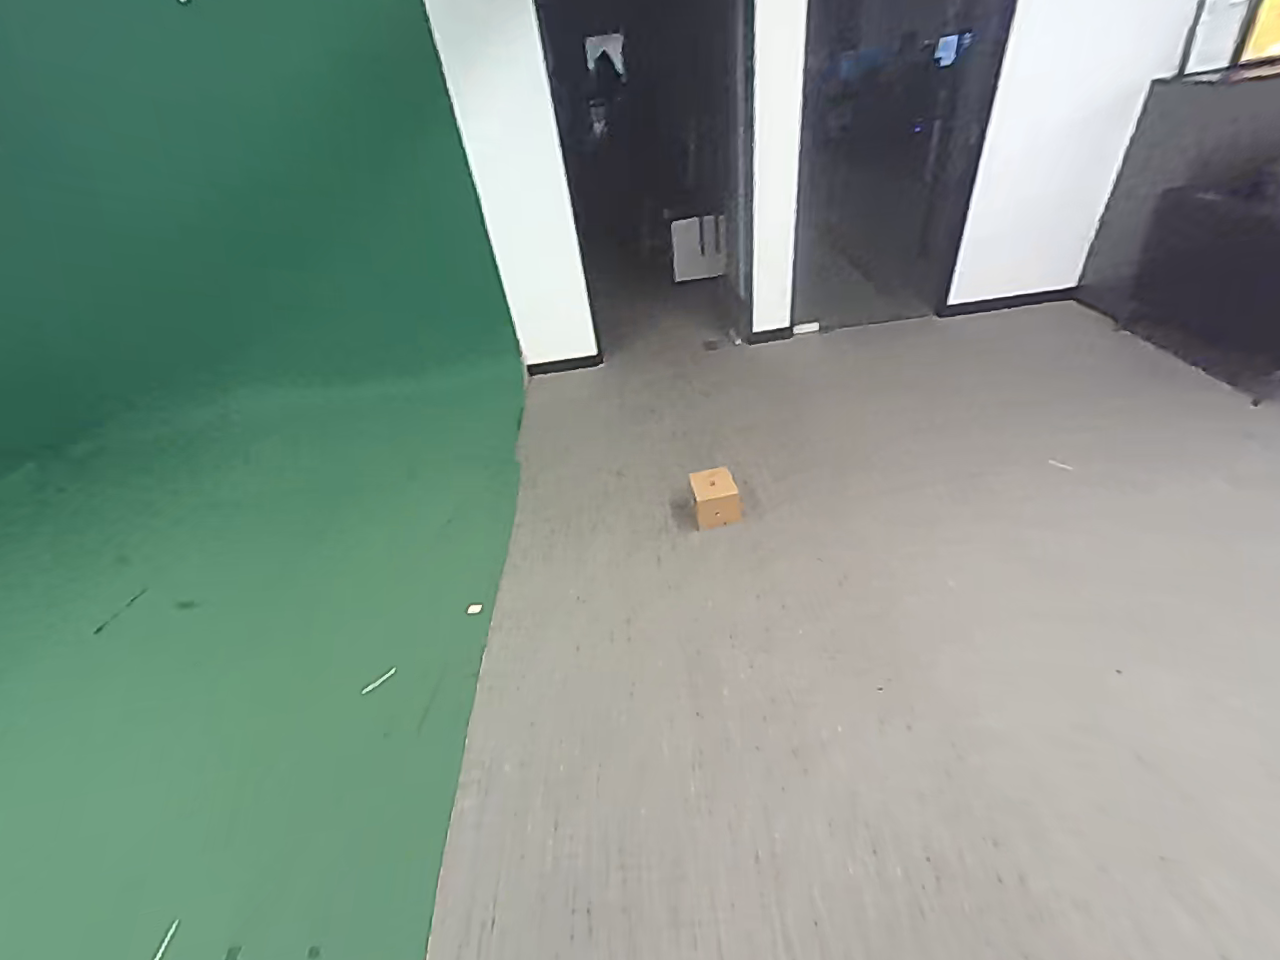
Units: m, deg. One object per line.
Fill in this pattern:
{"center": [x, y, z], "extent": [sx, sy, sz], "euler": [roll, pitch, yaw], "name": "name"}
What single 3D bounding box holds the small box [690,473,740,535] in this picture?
{"center": [0.302, 0.103, 2.170], "extent": [0.168, 0.176, 0.179], "euler": [-11, 38, -3], "name": "small box"}
